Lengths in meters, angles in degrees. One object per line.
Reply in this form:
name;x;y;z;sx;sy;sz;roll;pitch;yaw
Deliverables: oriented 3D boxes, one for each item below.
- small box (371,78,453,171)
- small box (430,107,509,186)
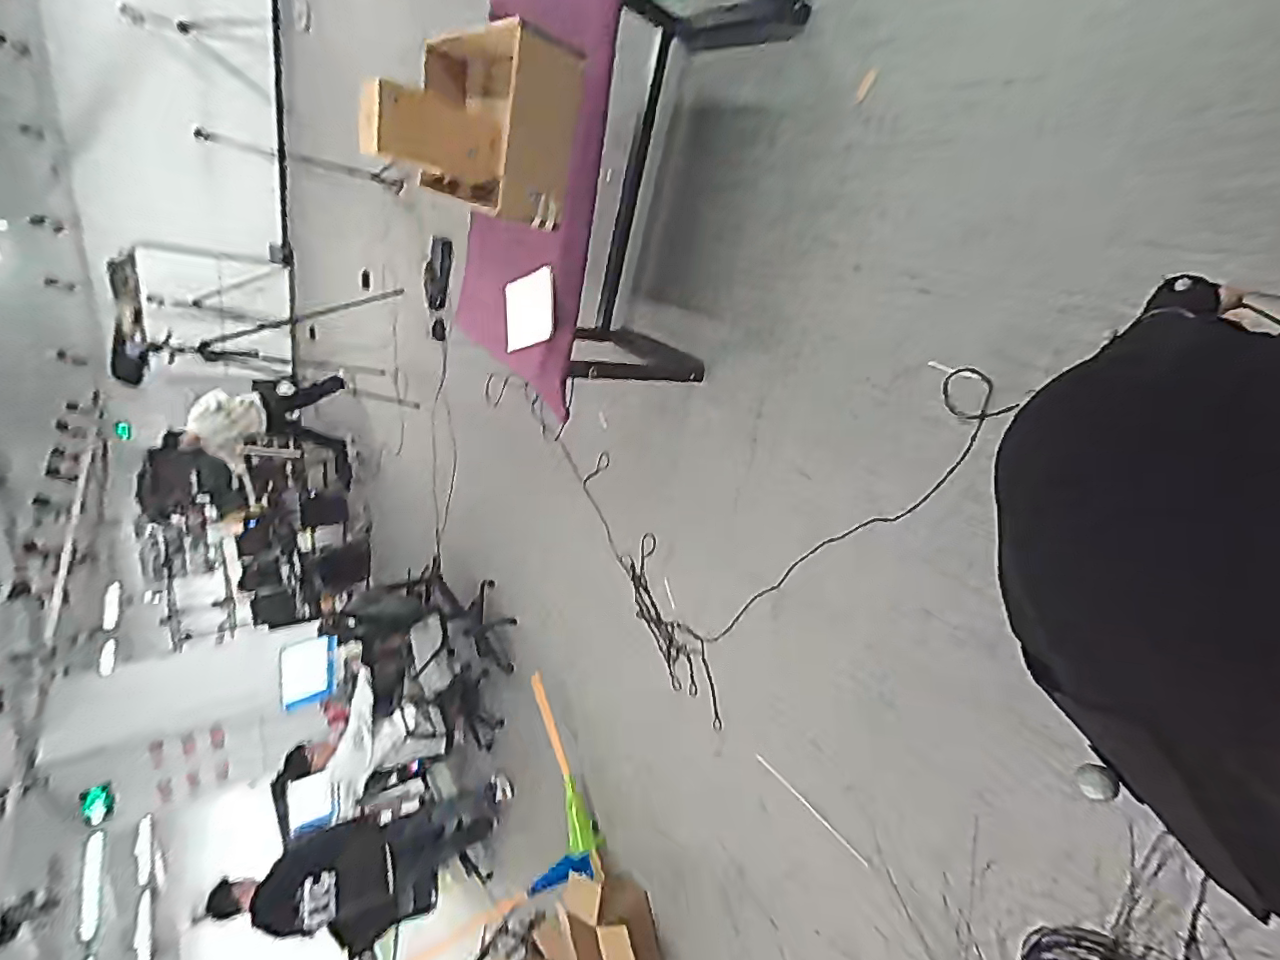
small box;-0.623;-0.965;1.480;0.168;0.176;0.179;34;121;42
small box;-0.502;-0.978;1.587;0.179;0.176;0.168;37;123;40
